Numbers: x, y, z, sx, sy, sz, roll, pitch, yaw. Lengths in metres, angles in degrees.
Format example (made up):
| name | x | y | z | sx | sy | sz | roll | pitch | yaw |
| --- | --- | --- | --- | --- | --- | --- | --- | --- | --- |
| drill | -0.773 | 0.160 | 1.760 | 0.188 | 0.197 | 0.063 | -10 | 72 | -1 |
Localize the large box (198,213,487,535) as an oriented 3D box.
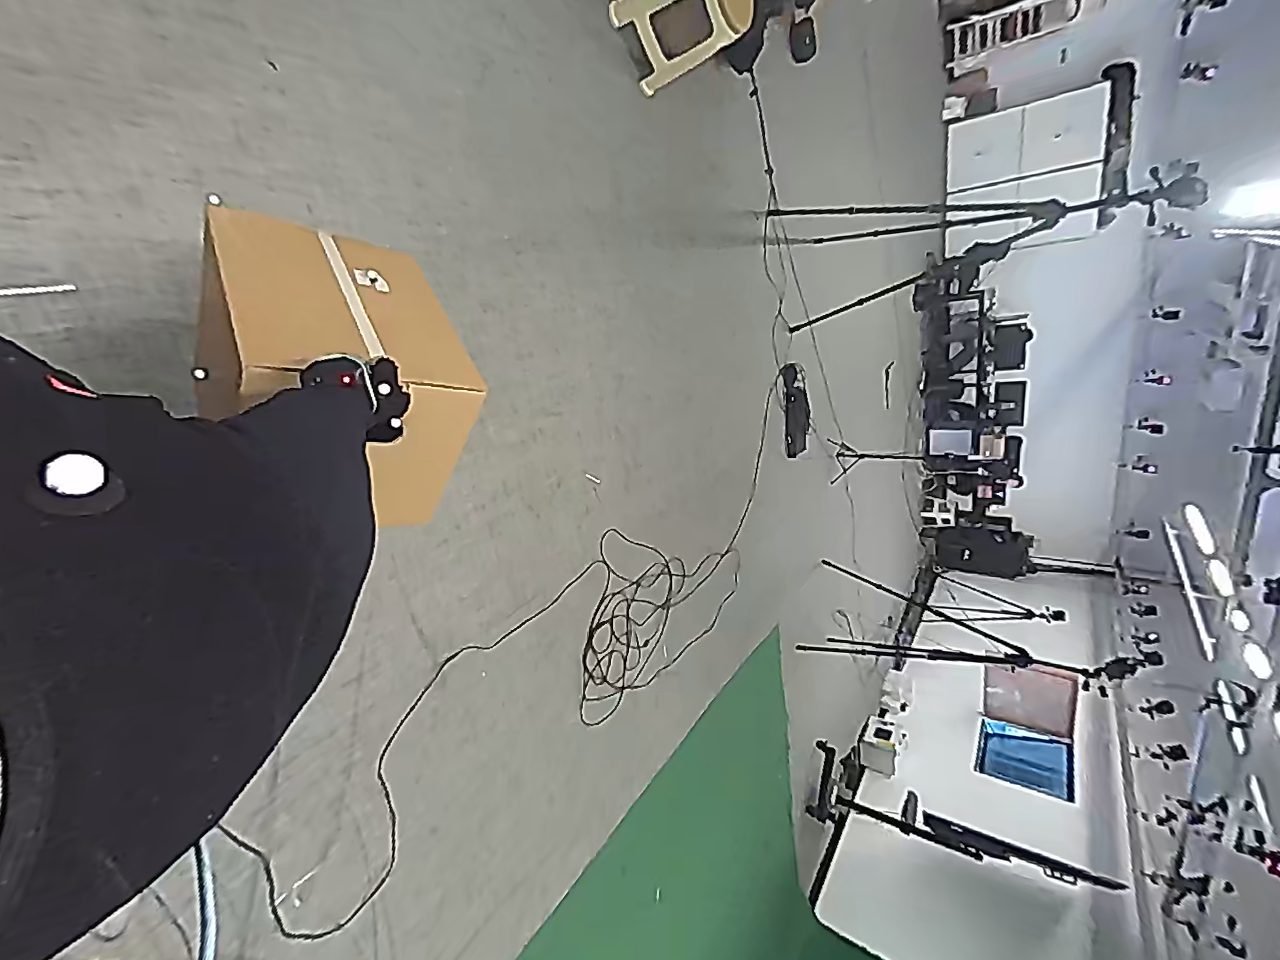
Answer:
| name | x | y | z | sx | sy | sz | roll | pitch | yaw |
| --- | --- | --- | --- | --- | --- | --- | --- | --- | --- |
| large box | -0.516 | -0.165 | 0.905 | 0.320 | 0.408 | 0.320 | -1 | 136 | -45 |
